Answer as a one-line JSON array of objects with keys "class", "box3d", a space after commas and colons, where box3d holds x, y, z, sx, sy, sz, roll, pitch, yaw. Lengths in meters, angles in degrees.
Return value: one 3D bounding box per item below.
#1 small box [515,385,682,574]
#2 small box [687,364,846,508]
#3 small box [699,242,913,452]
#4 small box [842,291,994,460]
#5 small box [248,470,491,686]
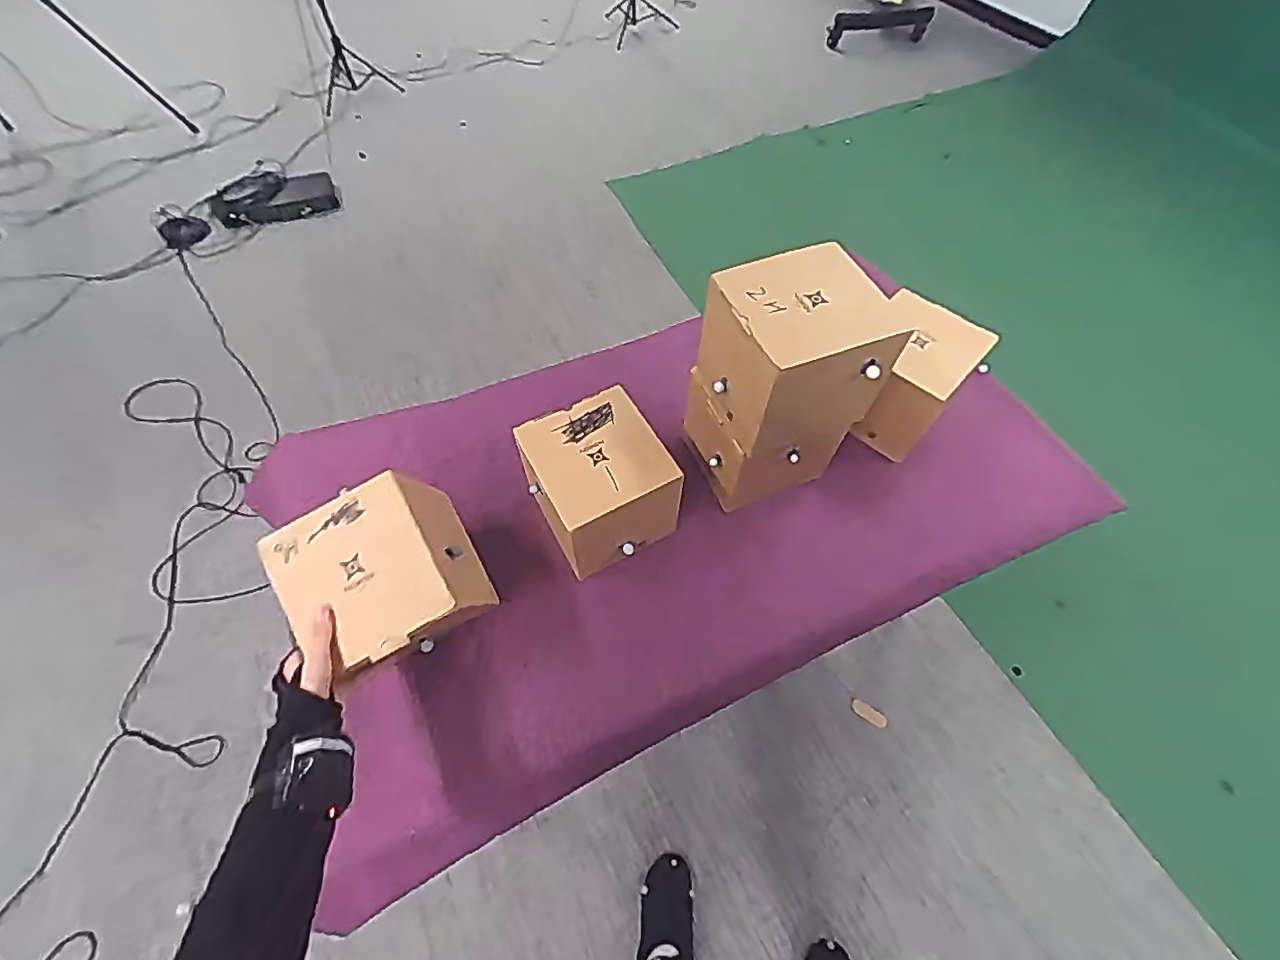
[{"class": "small box", "box3d": [-0.060, 0.003, 0.767, 0.168, 0.176, 0.179, -25, 63, -15]}, {"class": "small box", "box3d": [0.179, -0.081, 0.823, 0.179, 0.176, 0.168, -18, 61, -12]}, {"class": "small box", "box3d": [0.190, -0.161, 0.680, 0.179, 0.176, 0.168, -18, 61, -11]}, {"class": "small box", "box3d": [0.418, -0.164, 0.879, 0.168, 0.176, 0.179, 40, 66, 21]}, {"class": "small box", "box3d": [-0.305, 0.111, 0.648, 0.168, 0.176, 0.179, -30, 81, -2]}]
